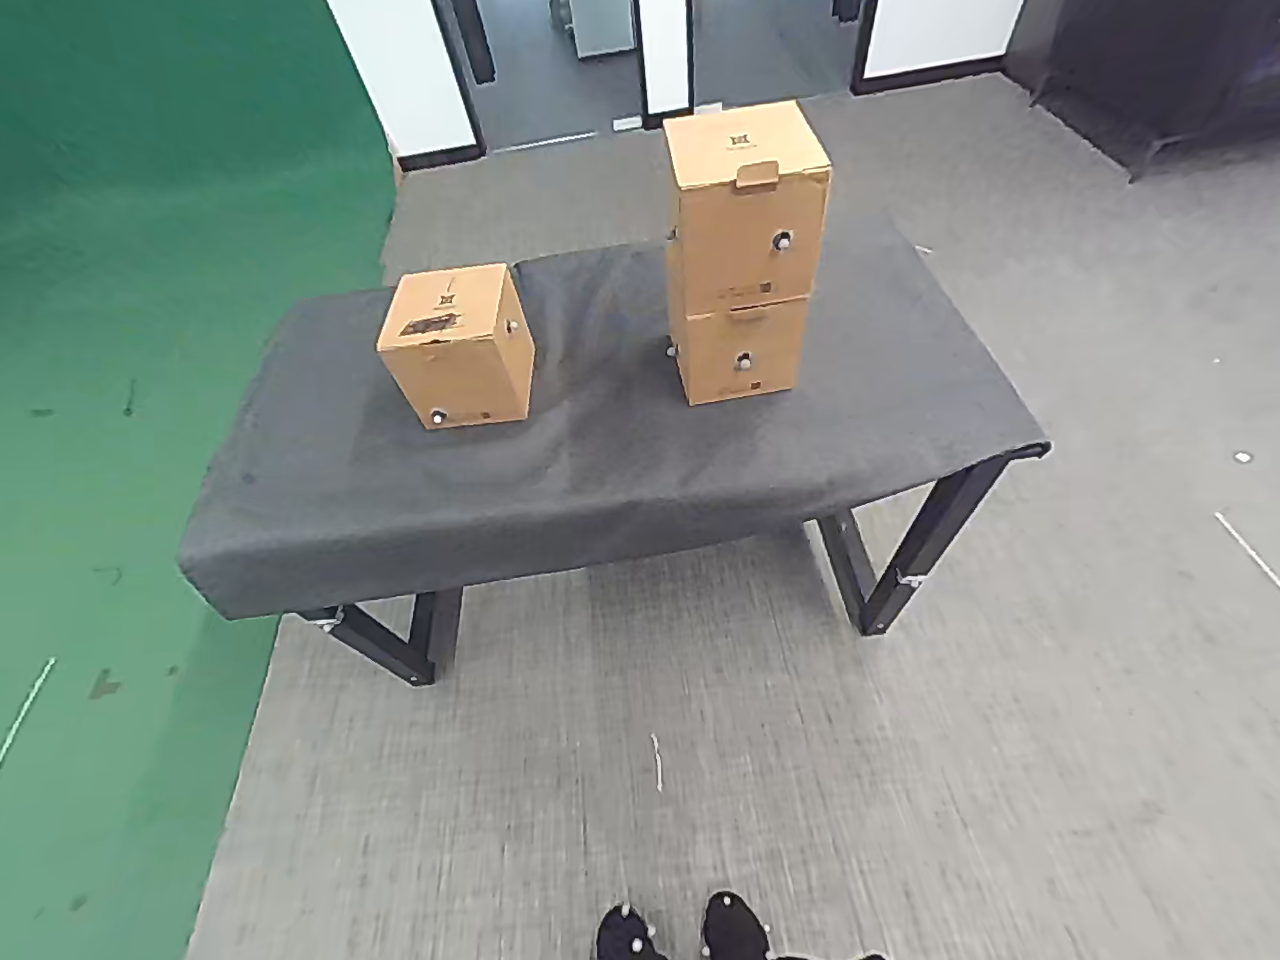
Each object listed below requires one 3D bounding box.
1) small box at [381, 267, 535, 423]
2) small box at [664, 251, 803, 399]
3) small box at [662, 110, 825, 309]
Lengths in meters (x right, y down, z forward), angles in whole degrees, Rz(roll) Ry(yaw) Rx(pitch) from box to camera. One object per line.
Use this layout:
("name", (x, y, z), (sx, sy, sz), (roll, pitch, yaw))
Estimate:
("small box", (-0.270, -0.203, 0.848), (0.168, 0.176, 0.179), (-5, 53, 3))
("small box", (0.135, -0.240, 0.823), (0.168, 0.176, 0.179), (-9, 54, 0))
("small box", (0.122, -0.336, 0.692), (0.168, 0.176, 0.179), (-7, 53, 2))
